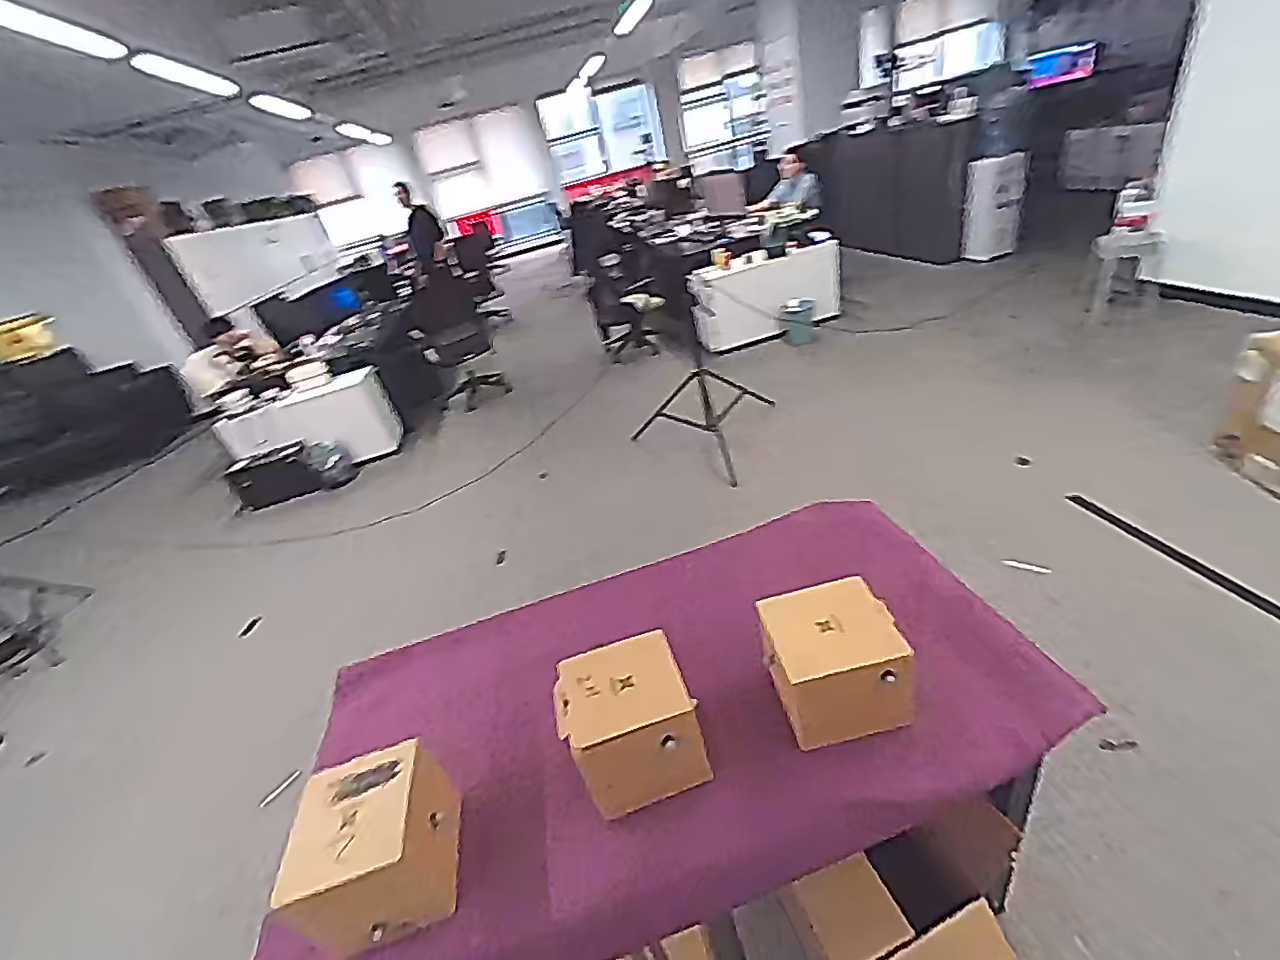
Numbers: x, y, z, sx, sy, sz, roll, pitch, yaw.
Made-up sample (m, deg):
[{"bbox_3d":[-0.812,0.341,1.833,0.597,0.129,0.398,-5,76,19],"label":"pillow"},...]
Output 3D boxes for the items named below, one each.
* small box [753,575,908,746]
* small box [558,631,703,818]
[{"bbox_3d":[0.294,0.282,0.844,0.179,0.176,0.168,-15,31,0],"label":"small box"},{"bbox_3d":[-0.012,0.373,0.832,0.179,0.176,0.168,-19,29,-6],"label":"small box"}]
